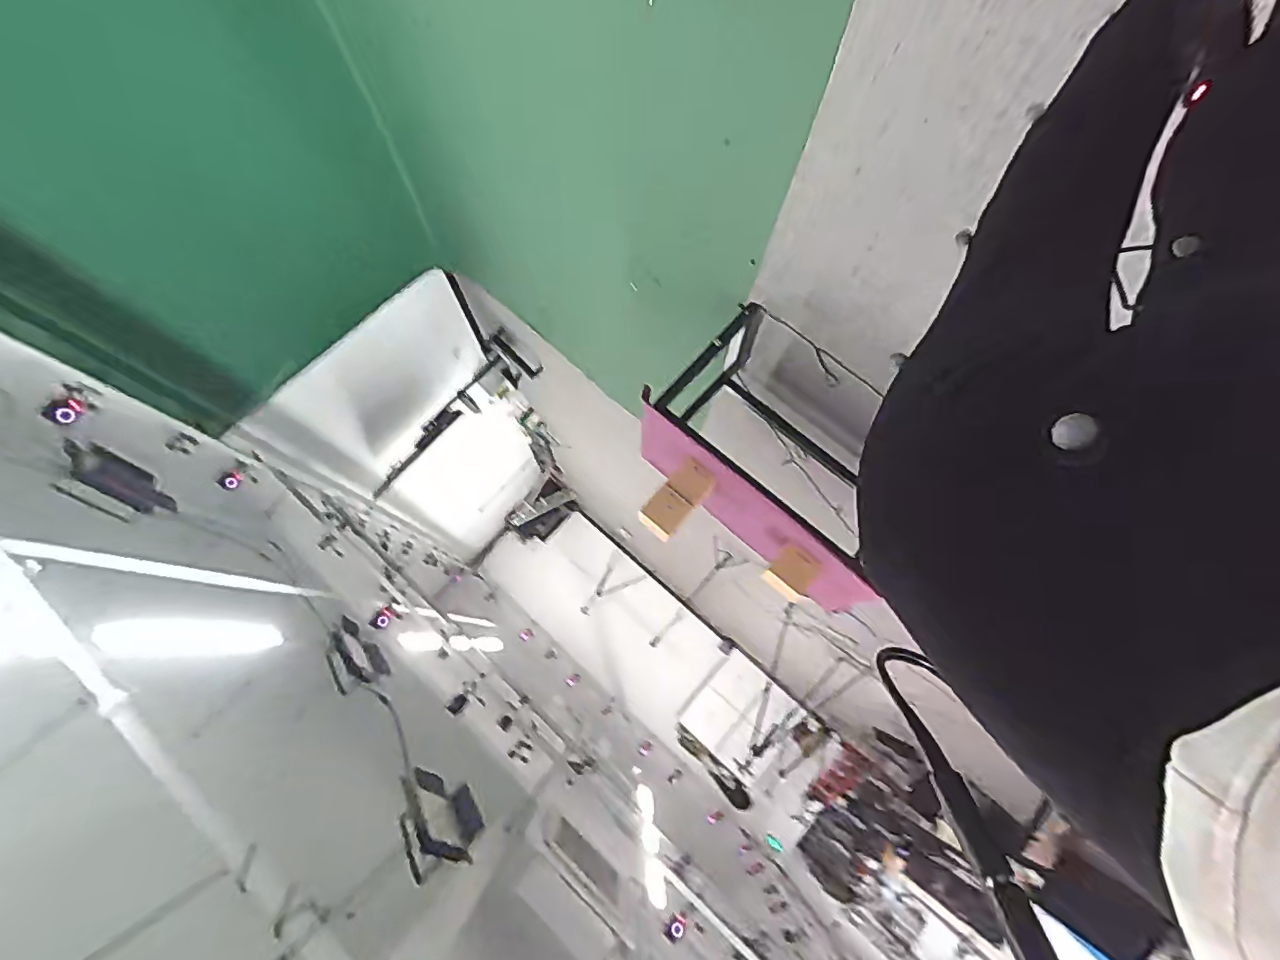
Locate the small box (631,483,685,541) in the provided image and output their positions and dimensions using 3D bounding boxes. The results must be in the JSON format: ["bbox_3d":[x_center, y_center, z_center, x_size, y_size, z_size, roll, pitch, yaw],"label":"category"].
[{"bbox_3d":[0.080,0.138,2.347,0.168,0.176,0.179,41,166,10],"label":"small box"}]

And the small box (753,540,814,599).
[{"bbox_3d":[0.610,0.380,2.294,0.168,0.176,0.179,40,165,11],"label":"small box"}]
